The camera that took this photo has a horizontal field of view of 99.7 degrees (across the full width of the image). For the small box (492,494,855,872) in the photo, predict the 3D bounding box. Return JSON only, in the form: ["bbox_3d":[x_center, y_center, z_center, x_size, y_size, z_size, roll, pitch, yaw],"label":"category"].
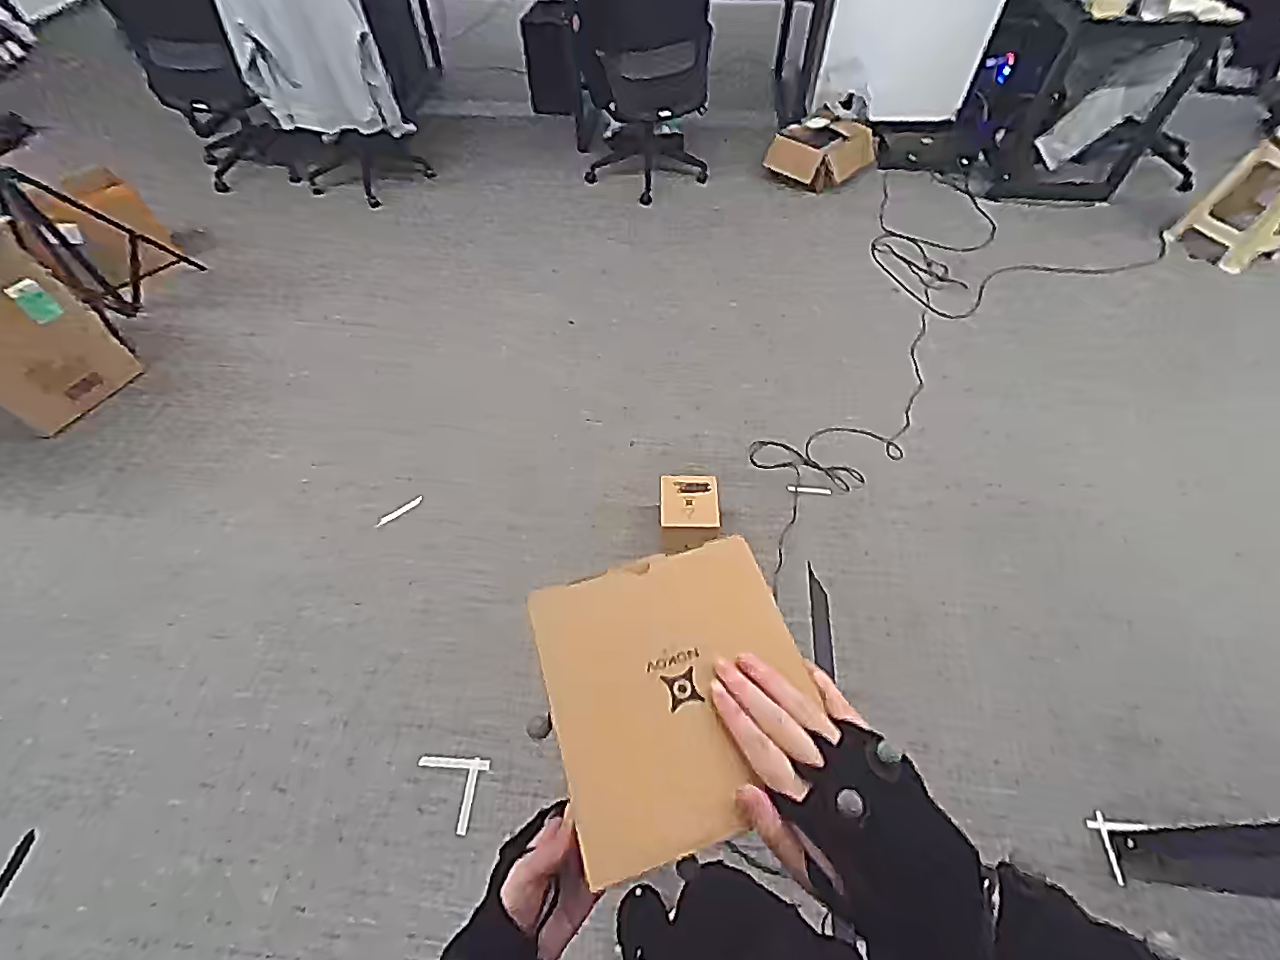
[{"bbox_3d":[0.022,0.135,0.384,0.179,0.176,0.168,-28,40,0],"label":"small box"}]
